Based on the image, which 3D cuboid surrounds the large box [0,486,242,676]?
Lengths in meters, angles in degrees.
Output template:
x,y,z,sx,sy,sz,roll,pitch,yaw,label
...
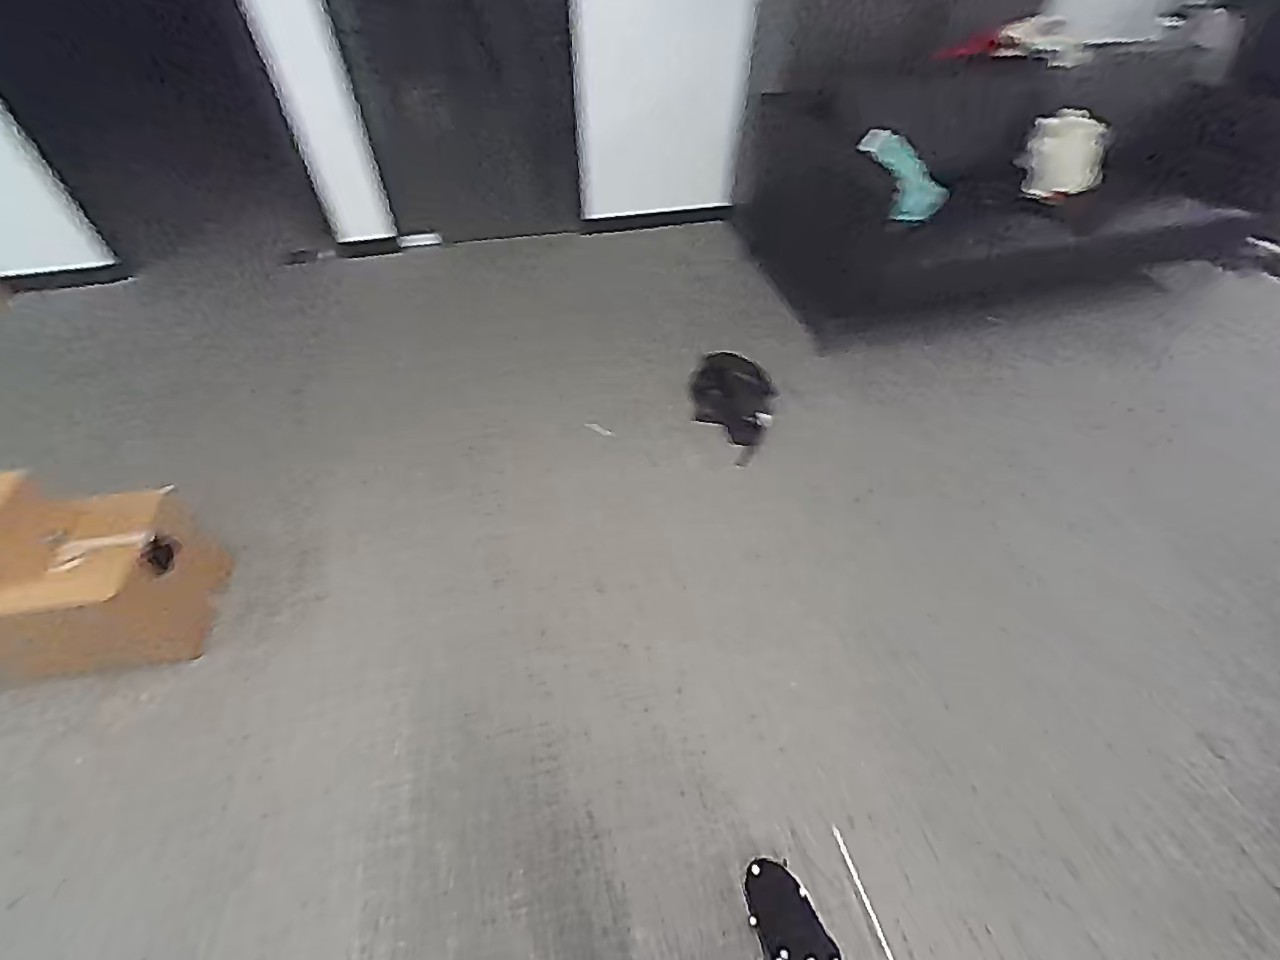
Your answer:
x,y,z,sx,sy,sz,roll,pitch,yaw,label
-1.307,0.248,1.324,0.408,0.320,0.320,-6,50,-8,large box
